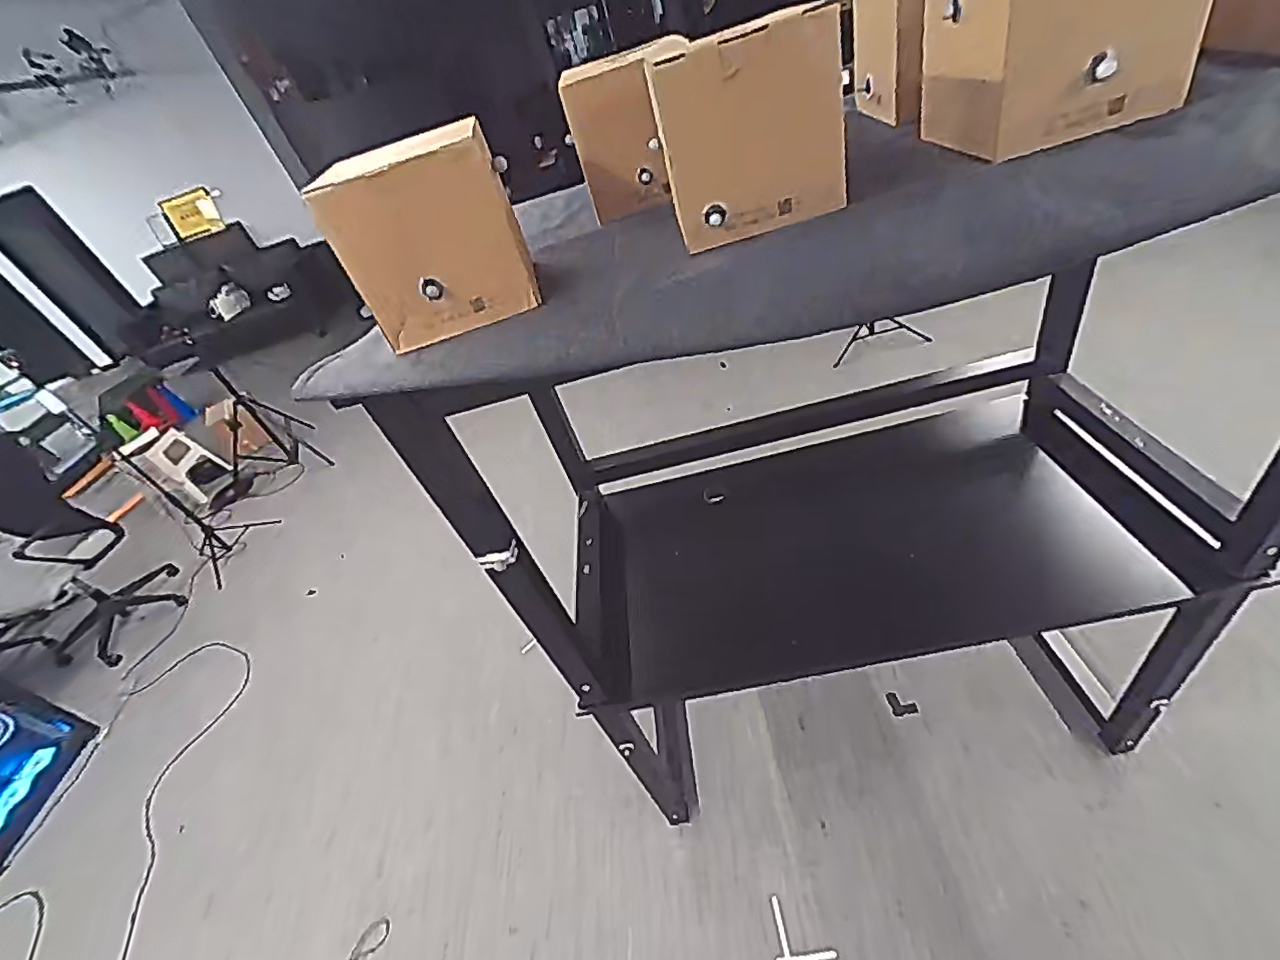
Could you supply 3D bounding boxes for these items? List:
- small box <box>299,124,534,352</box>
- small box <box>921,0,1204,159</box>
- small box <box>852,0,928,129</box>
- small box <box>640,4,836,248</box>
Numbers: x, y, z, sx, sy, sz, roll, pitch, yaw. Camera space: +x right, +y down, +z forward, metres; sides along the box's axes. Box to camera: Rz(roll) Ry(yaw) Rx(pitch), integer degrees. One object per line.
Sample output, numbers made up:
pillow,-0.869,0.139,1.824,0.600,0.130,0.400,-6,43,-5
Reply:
small box,-0.227,-0.267,0.600,0.168,0.176,0.179,-19,40,0
small box,0.393,-0.436,0.528,0.168,0.176,0.179,-13,38,10
small box,0.393,-0.598,0.720,0.179,0.176,0.168,-13,39,9
small box,0.102,-0.367,0.575,0.168,0.176,0.179,-13,38,9
